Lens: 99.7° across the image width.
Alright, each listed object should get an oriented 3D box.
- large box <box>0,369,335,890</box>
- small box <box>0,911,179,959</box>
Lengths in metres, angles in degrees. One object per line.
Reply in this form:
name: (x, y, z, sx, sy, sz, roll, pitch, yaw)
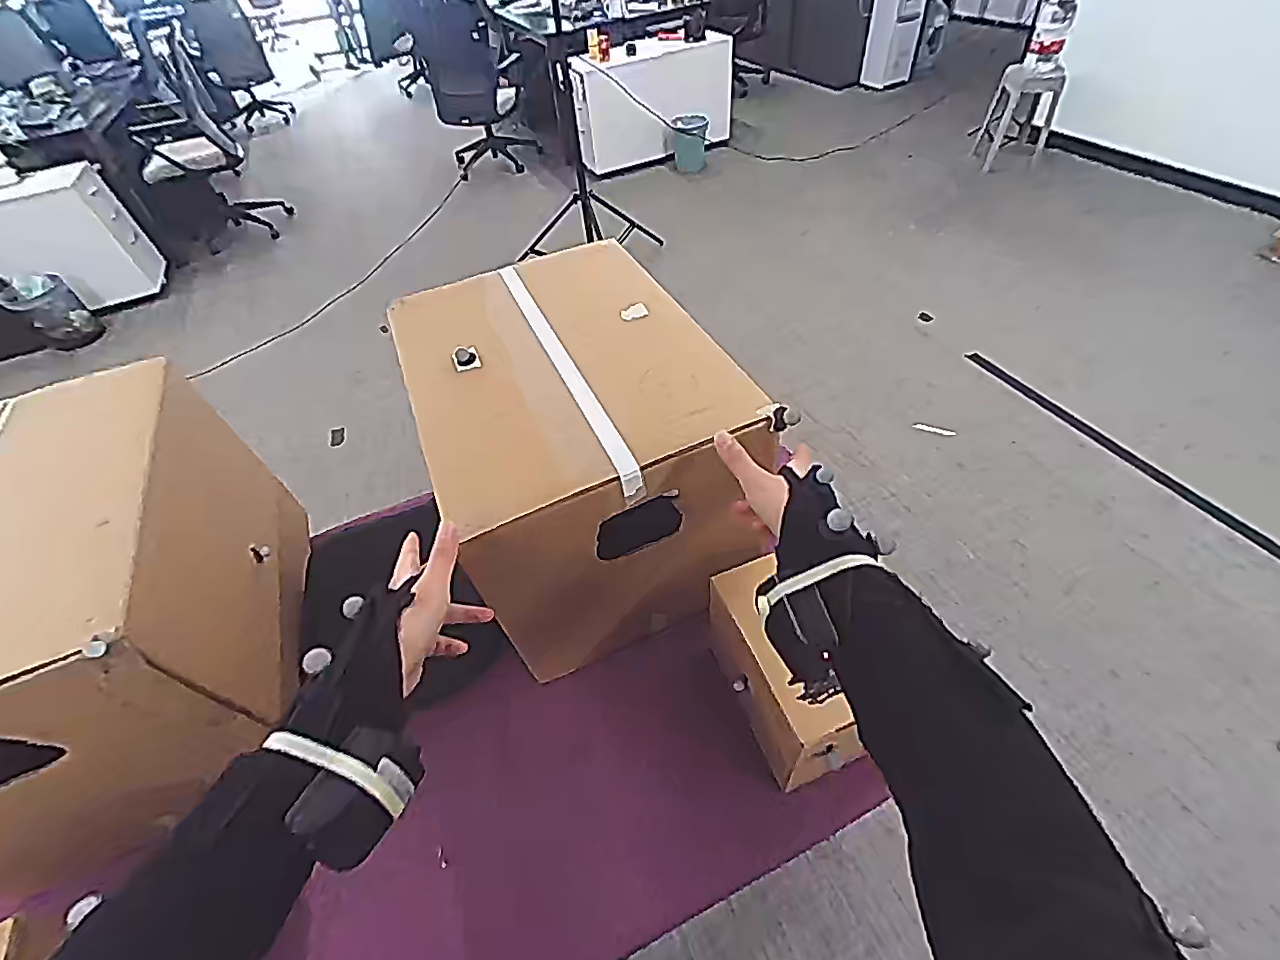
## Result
large box: (-0.591, 0.149, 0.605, 0.320, 0.320, 0.408, -24, 53, -13)
small box: (-0.503, 0.471, 0.403, 0.179, 0.176, 0.168, -24, 49, -15)
